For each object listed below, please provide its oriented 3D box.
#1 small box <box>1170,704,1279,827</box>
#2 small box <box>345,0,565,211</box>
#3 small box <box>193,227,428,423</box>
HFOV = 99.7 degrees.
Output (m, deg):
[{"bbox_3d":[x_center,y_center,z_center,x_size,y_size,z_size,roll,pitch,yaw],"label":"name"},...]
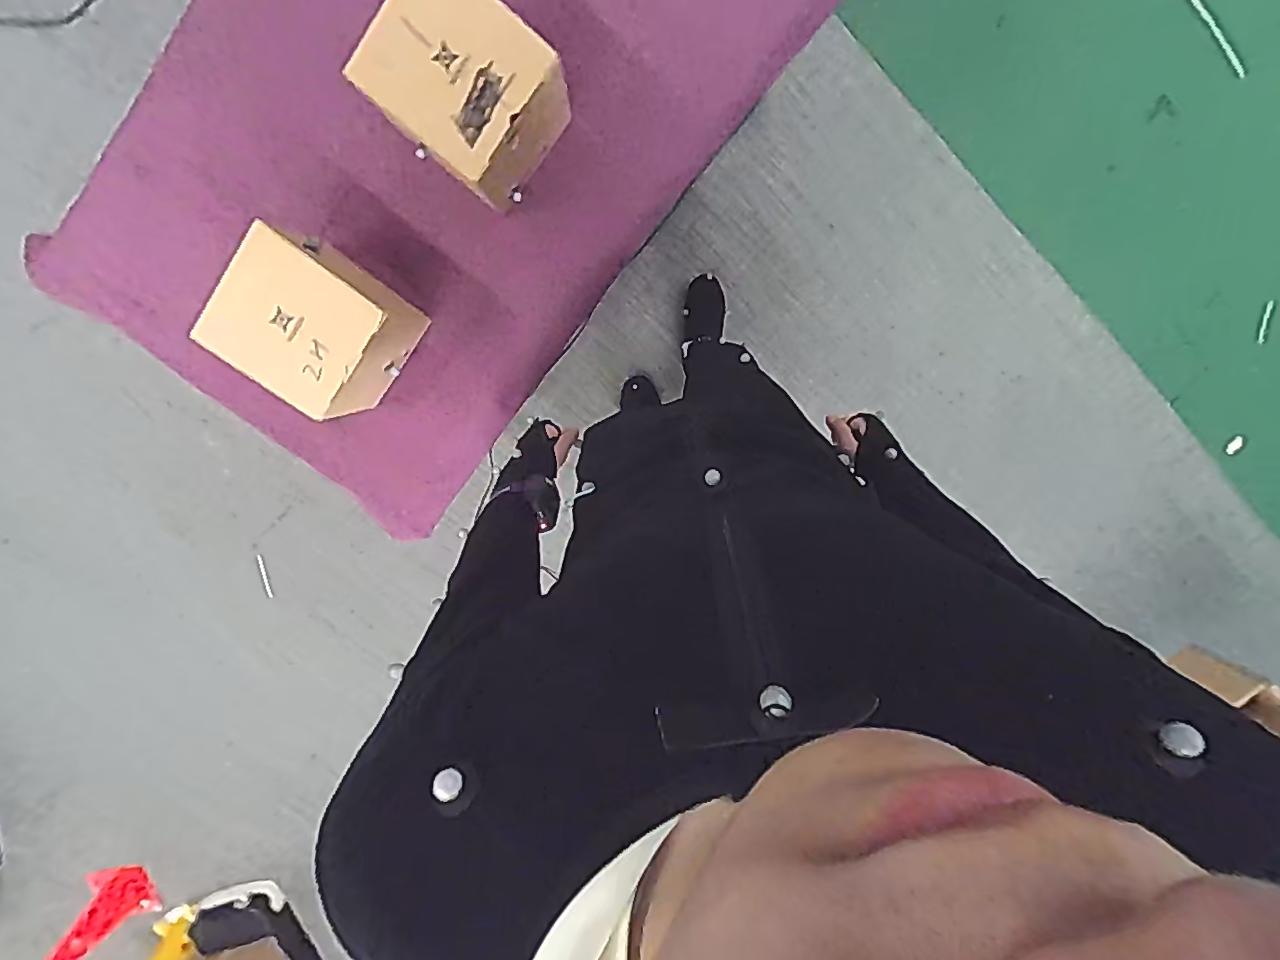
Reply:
[{"bbox_3d":[1.504,0.700,1.345,0.168,0.176,0.179,40,101,-10],"label":"small box"},{"bbox_3d":[-0.211,-0.467,0.674,0.179,0.176,0.168,38,99,-9],"label":"small box"},{"bbox_3d":[-0.424,-0.199,0.728,0.179,0.176,0.168,36,100,-10],"label":"small box"}]
